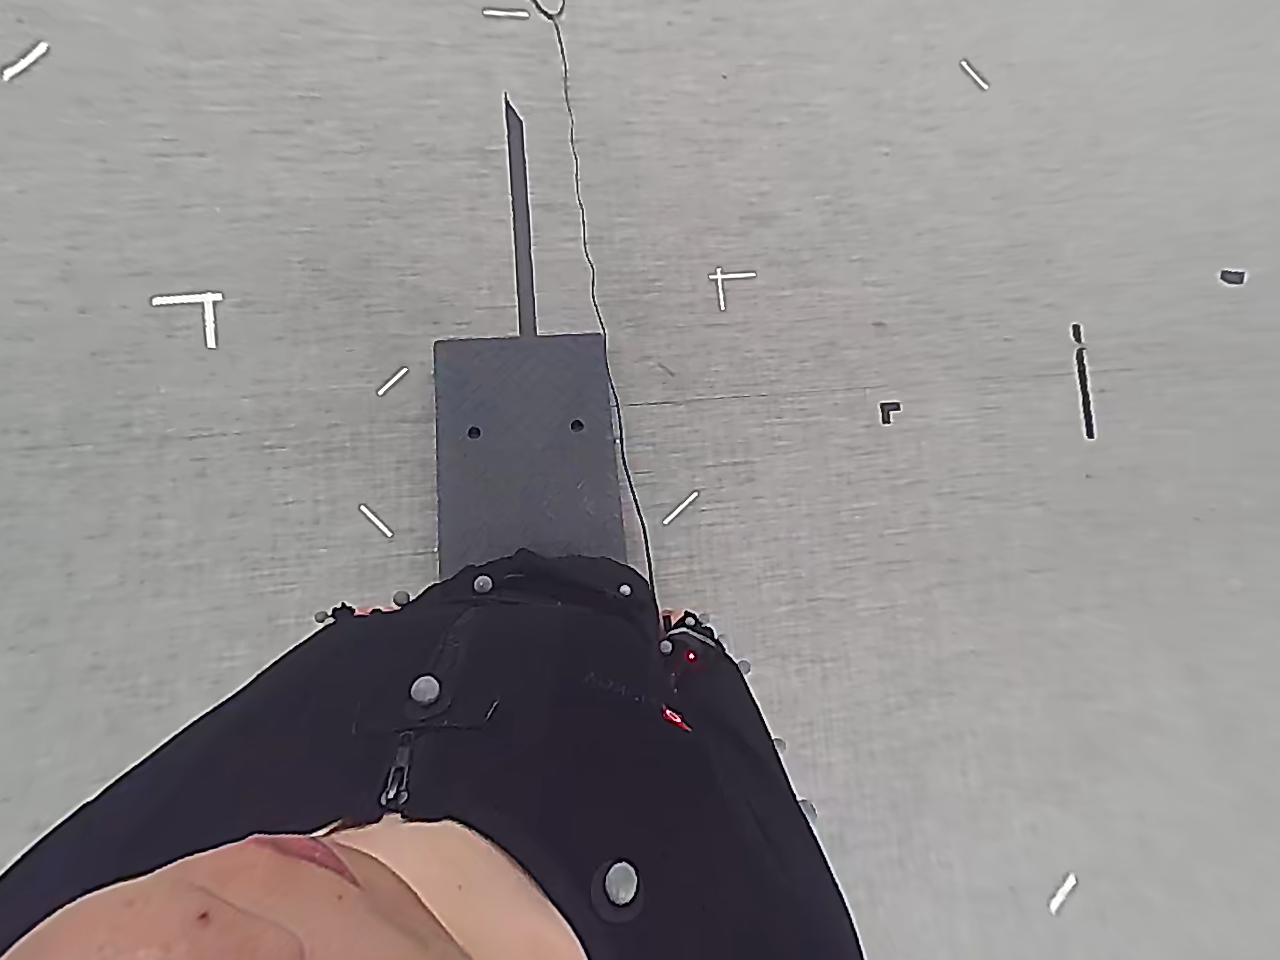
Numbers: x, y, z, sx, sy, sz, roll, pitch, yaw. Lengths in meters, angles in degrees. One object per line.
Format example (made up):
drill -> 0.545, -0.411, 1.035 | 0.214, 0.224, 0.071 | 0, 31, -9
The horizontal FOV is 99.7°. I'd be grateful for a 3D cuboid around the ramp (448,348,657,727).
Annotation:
ramp -> -0.260, 0.098, 1.467 | 0.509, 0.206, 0.991 | -7, 83, -7
